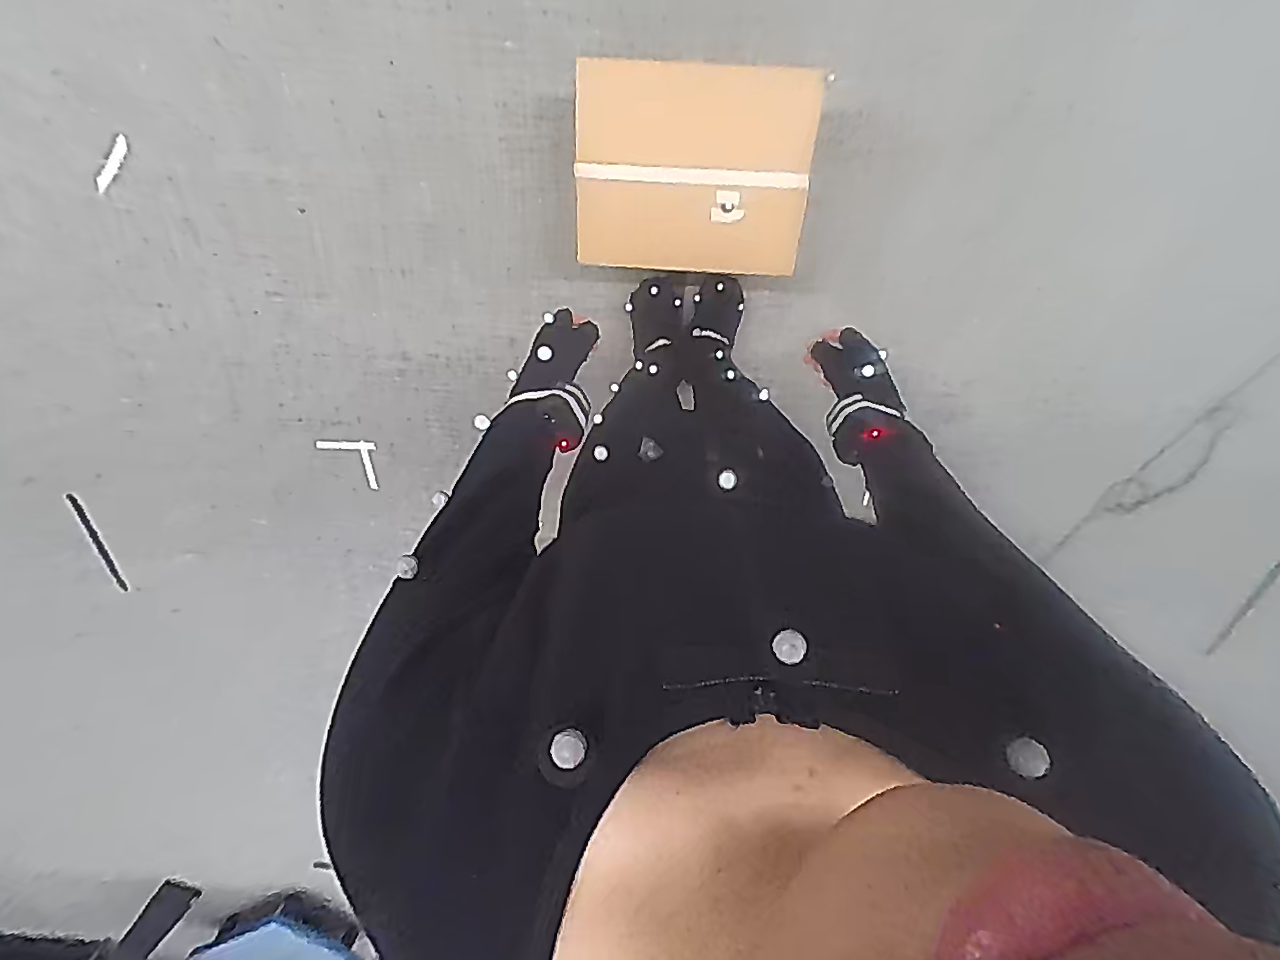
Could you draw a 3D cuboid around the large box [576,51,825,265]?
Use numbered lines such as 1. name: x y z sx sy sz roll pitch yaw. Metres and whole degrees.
1. large box: 0.095 -0.611 1.059 0.408 0.320 0.320 3 120 0
